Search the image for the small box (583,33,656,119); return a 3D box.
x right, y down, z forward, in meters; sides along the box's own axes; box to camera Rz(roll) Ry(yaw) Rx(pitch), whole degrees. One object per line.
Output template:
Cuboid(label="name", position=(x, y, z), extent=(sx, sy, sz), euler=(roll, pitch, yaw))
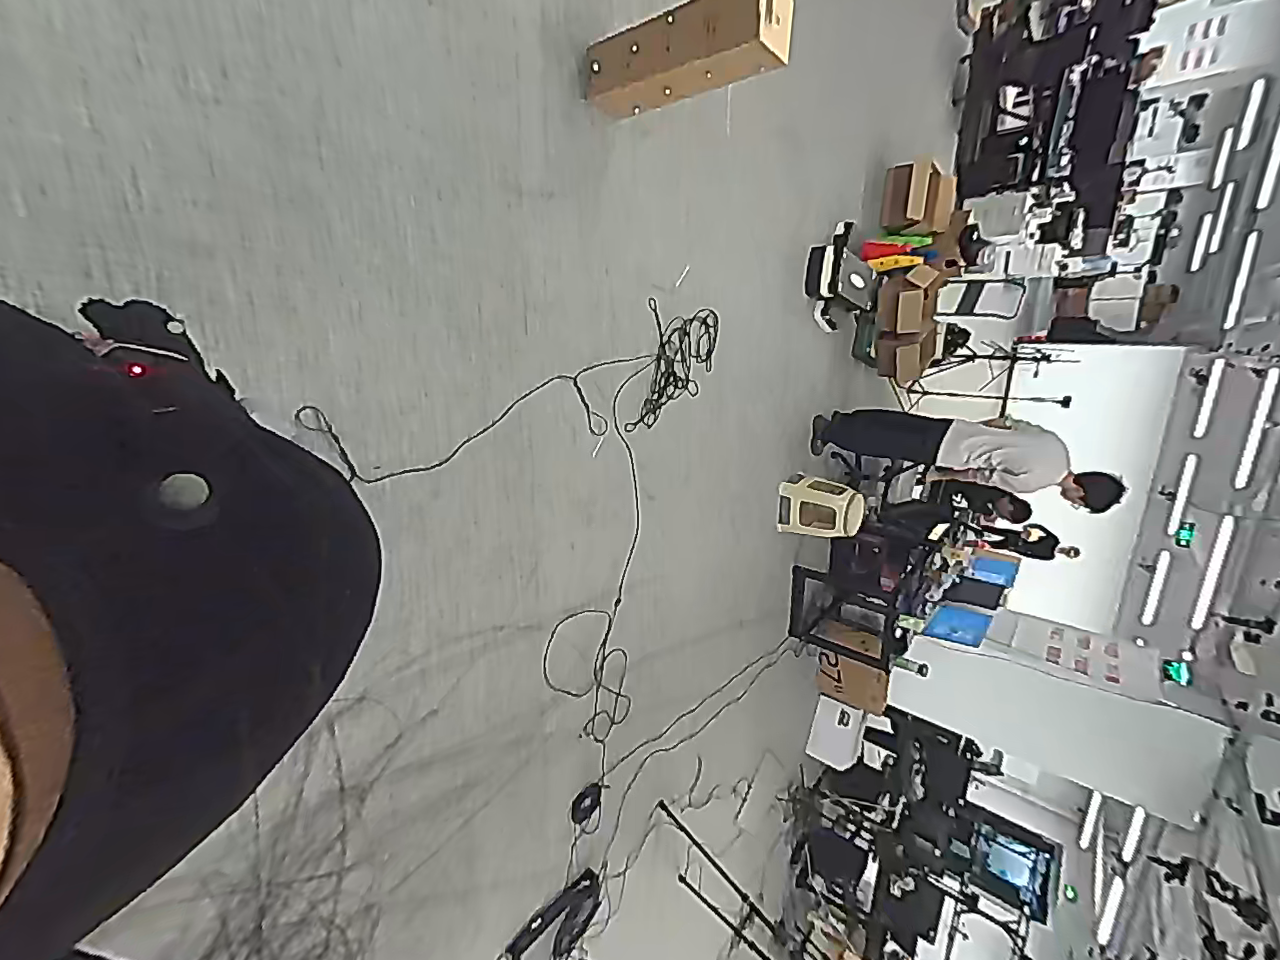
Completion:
Cuboid(label="small box", position=(-0.070, -1.361, 1.840), extent=(0.179, 0.176, 0.168), euler=(-8, 106, -49))

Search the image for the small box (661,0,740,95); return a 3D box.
Cuboid(label="small box", position=(0.180, -1.304, 1.638), extent=(0.179, 0.176, 0.168), euler=(-12, 110, -49))
